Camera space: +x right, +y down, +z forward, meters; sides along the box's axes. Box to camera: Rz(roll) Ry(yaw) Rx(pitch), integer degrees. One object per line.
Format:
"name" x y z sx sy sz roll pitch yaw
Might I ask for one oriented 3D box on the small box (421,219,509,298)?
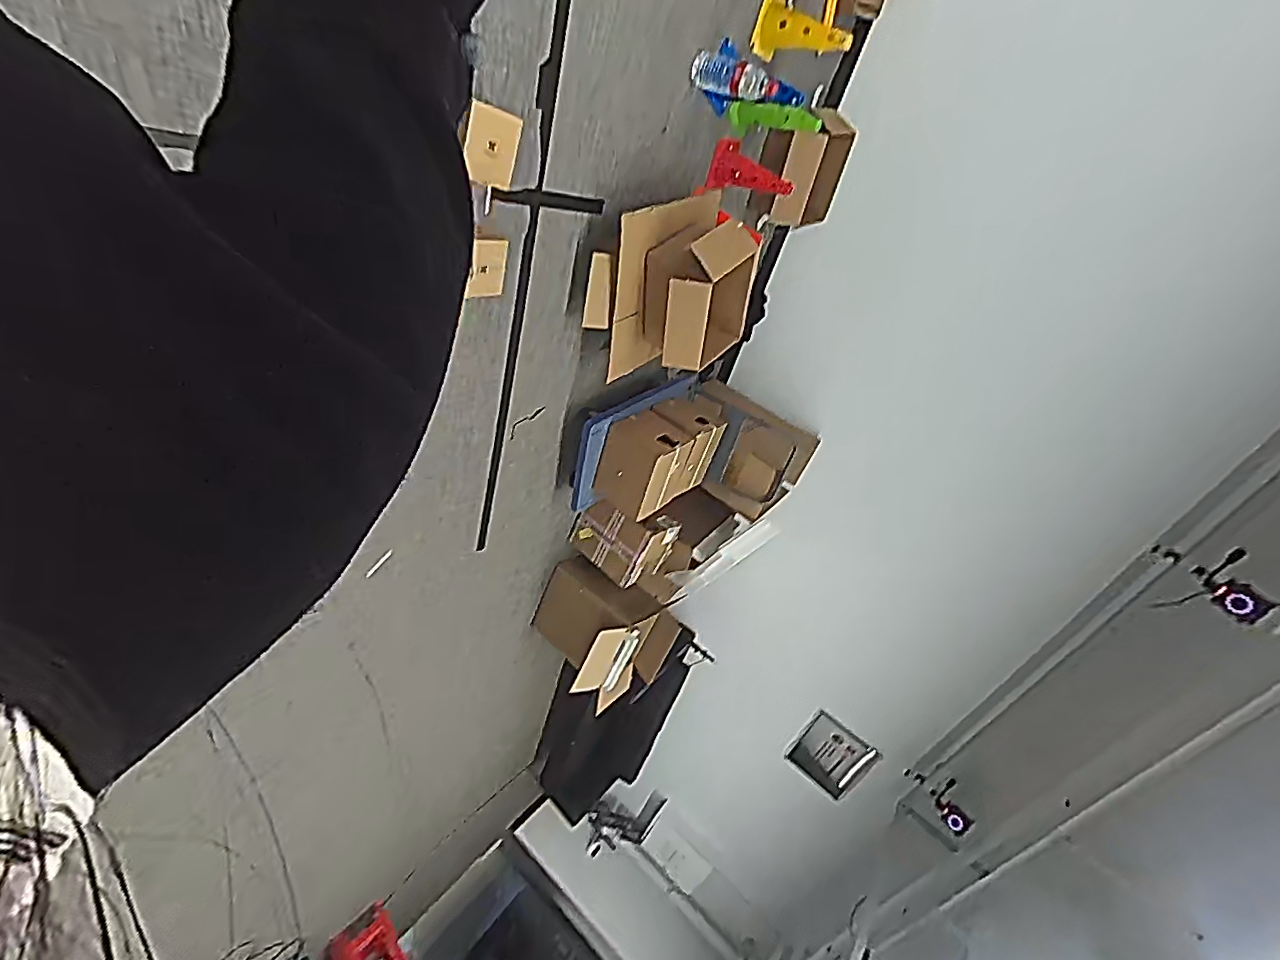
"small box" -0.514 -0.646 1.576 0.179 0.176 0.168 -28 146 -48

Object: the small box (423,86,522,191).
"small box" -0.438 -0.883 1.402 0.168 0.176 0.179 -22 141 -53
